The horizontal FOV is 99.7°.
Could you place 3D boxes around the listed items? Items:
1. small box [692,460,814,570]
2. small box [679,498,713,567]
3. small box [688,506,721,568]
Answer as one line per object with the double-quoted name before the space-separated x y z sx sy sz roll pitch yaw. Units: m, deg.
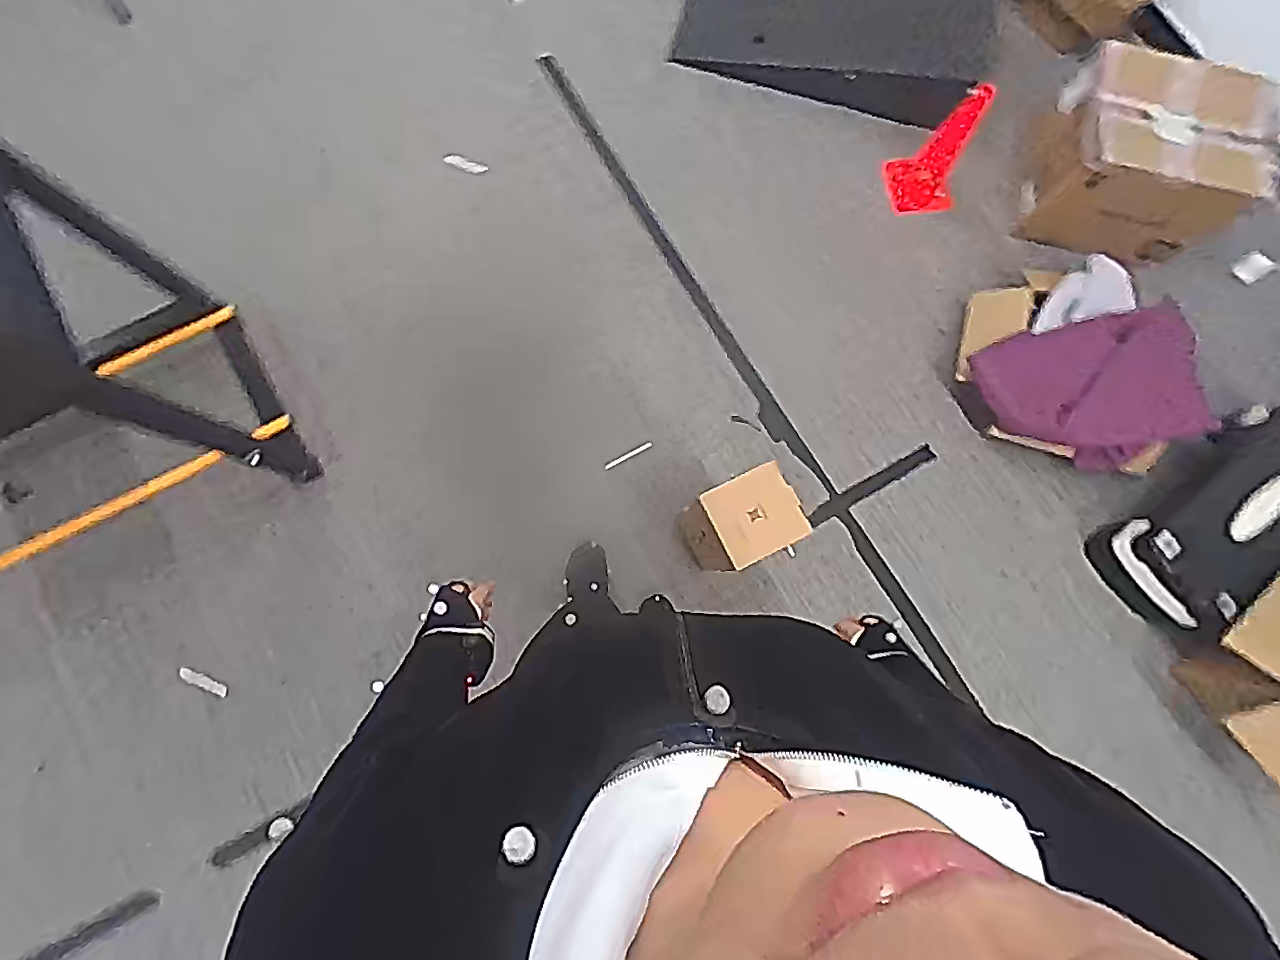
"small box" 0.227 0.079 1.136 0.179 0.176 0.168 -26 81 -6
"small box" 0.217 0.126 1.460 0.168 0.176 0.179 -25 82 -6
"small box" 0.232 0.101 1.298 0.179 0.176 0.168 -26 82 -6
